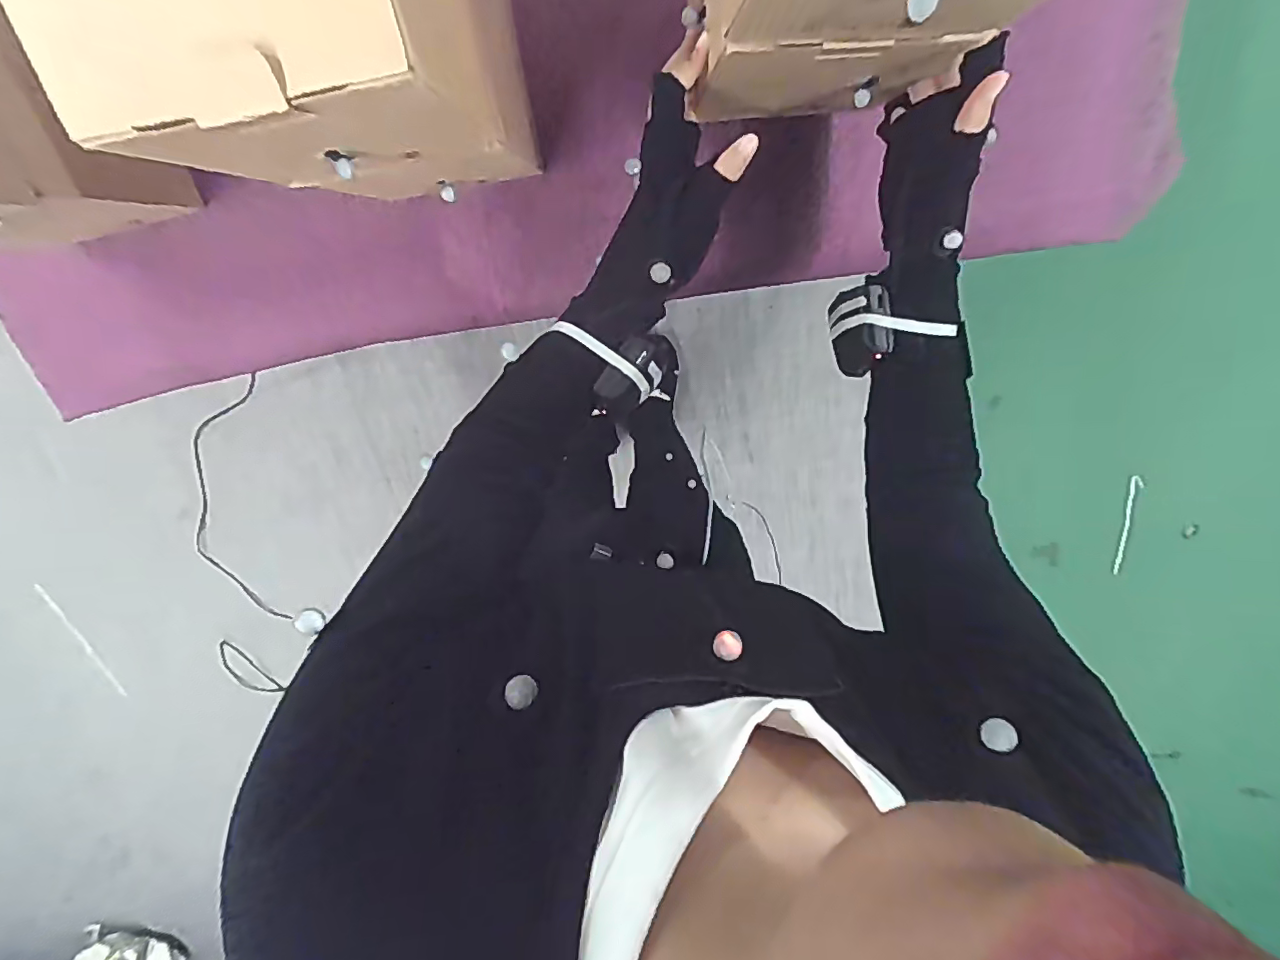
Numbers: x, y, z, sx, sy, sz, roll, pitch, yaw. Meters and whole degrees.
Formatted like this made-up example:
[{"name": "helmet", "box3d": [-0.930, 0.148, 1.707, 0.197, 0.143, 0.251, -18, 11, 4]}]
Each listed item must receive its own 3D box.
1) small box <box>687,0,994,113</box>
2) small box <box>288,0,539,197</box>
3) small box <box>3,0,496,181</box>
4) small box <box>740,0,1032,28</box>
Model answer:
[{"name": "small box", "box3d": [0.124, -0.365, 0.364, 0.168, 0.176, 0.179, -3, 112, -1]}, {"name": "small box", "box3d": [-0.190, -0.341, 0.434, 0.168, 0.176, 0.179, -7, 114, 5]}, {"name": "small box", "box3d": [-0.192, -0.276, 0.284, 0.168, 0.176, 0.179, -9, 114, 4]}, {"name": "small box", "box3d": [0.130, -0.307, 0.211, 0.168, 0.176, 0.179, -3, 113, -2]}]
